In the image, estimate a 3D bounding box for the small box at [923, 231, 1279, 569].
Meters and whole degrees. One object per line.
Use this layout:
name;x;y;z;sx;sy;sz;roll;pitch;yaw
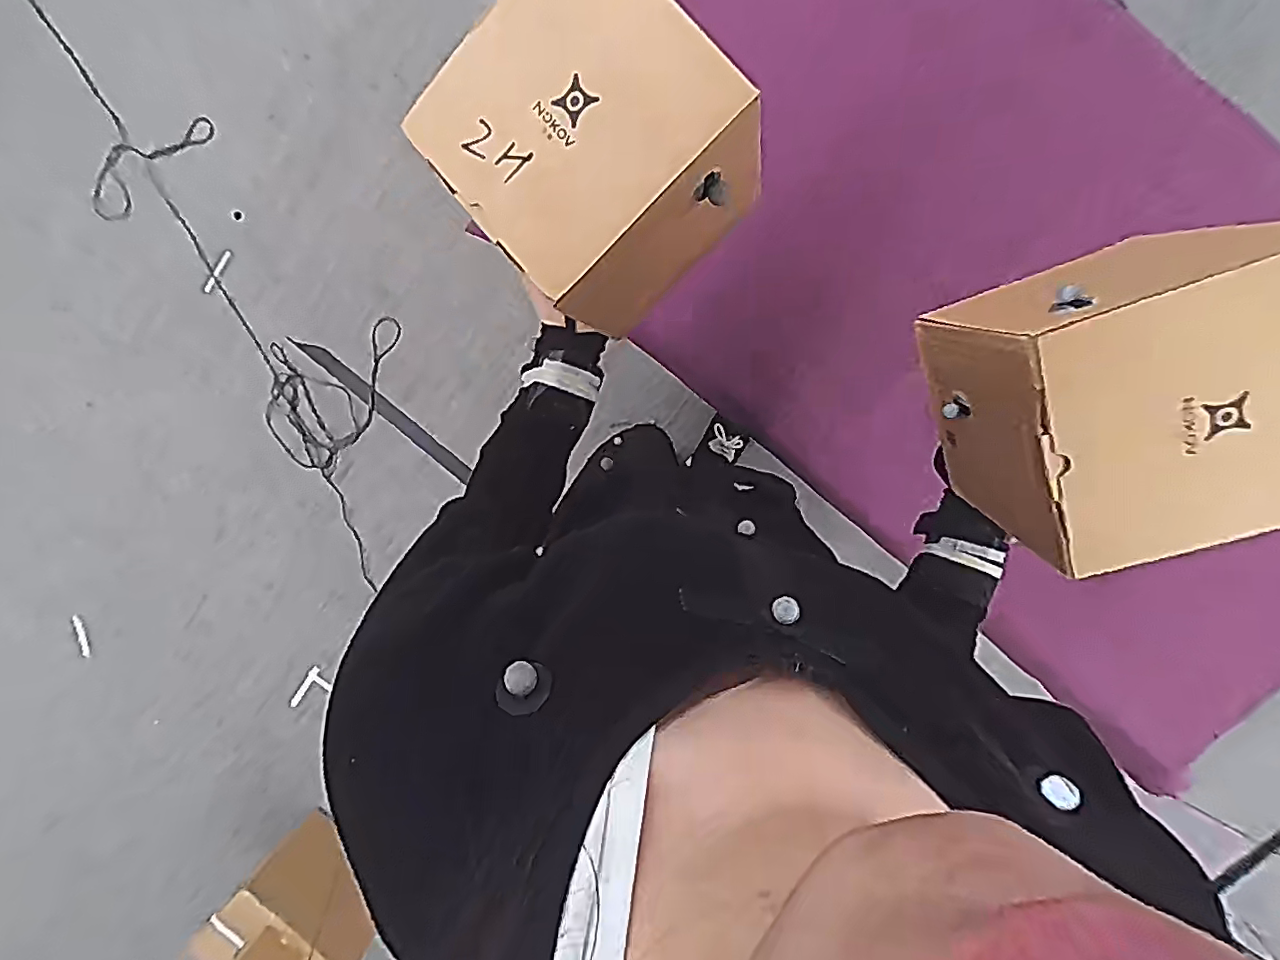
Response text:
small box;0.339;-0.067;0.389;0.179;0.176;0.168;-19;108;12

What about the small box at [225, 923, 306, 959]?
small box;-1.064;1.380;1.478;0.168;0.176;0.179;-42;93;11

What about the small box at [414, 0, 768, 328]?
small box;-0.022;-0.244;0.417;0.179;0.176;0.168;-41;86;15
